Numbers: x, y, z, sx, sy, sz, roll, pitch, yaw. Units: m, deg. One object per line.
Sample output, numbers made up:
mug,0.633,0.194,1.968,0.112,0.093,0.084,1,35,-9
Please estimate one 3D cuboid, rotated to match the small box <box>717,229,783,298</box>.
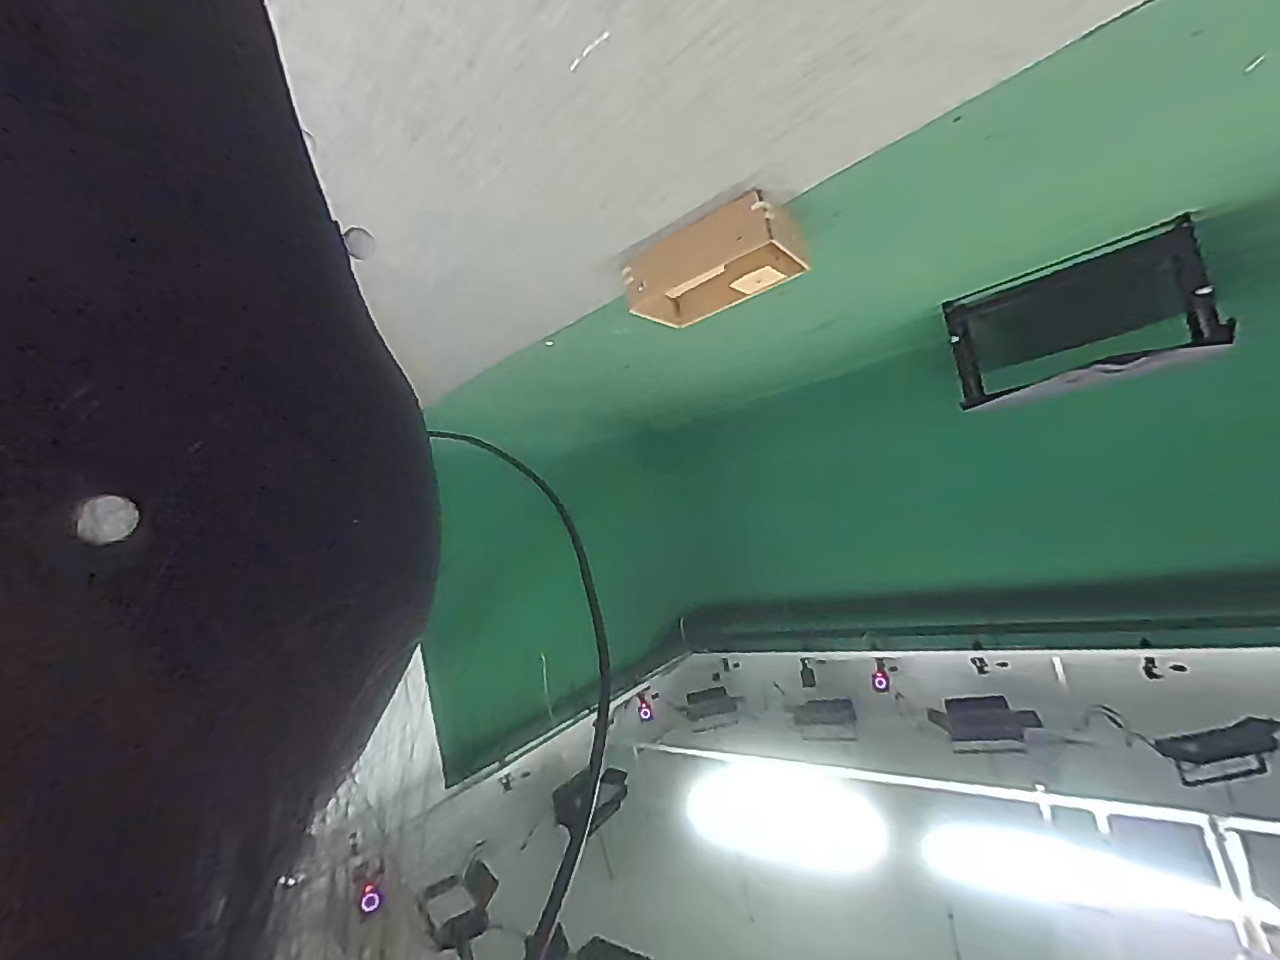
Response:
small box,0.410,-0.804,2.015,0.168,0.176,0.179,-16,173,38
